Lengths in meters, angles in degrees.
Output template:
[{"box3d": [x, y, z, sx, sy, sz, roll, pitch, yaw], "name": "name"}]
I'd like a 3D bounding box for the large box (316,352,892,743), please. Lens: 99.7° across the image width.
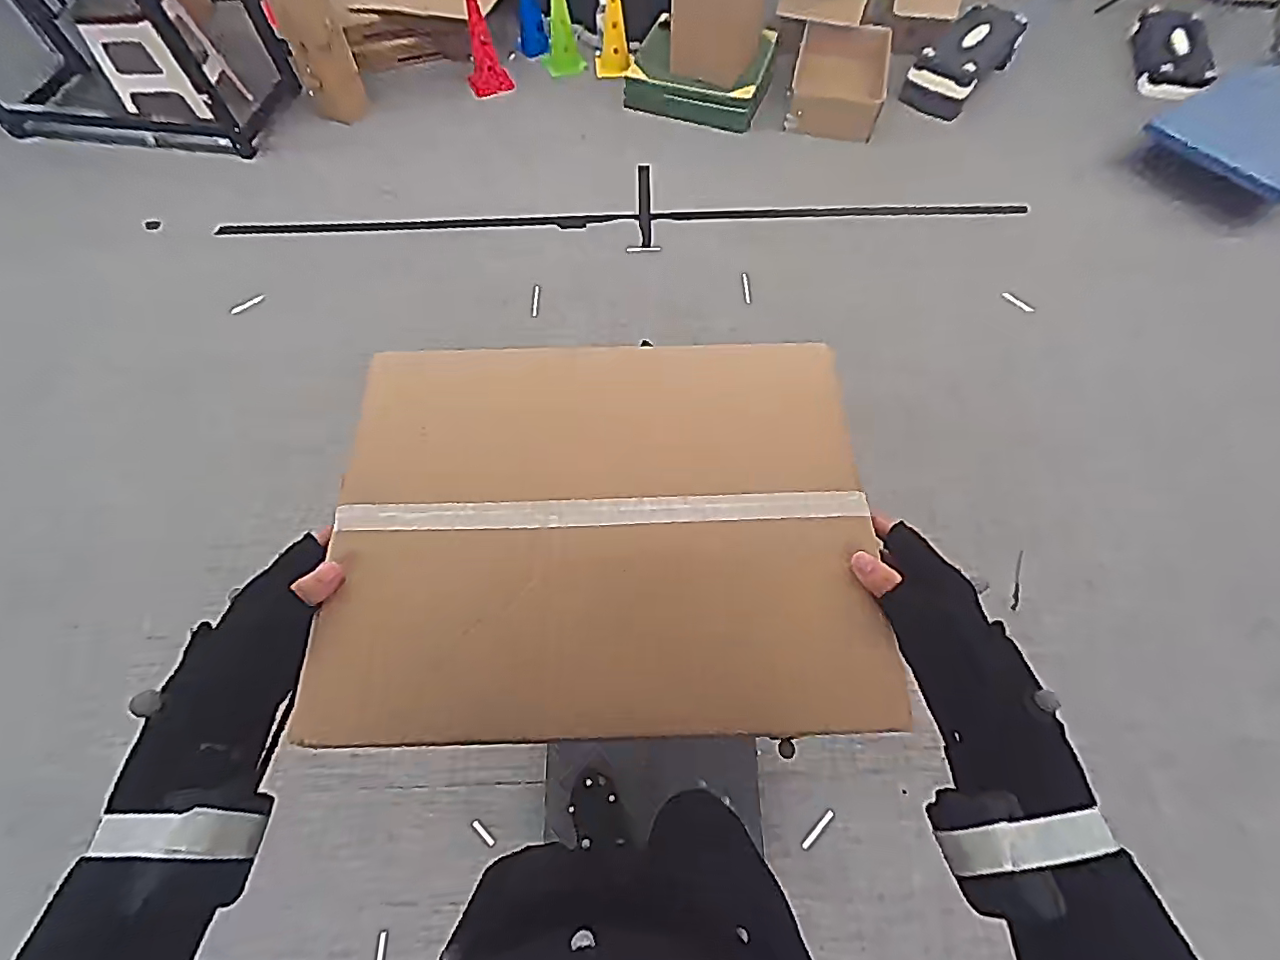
[{"box3d": [-0.026, 0.089, 0.564, 0.408, 0.320, 0.320, -1, 65, 0], "name": "large box"}]
